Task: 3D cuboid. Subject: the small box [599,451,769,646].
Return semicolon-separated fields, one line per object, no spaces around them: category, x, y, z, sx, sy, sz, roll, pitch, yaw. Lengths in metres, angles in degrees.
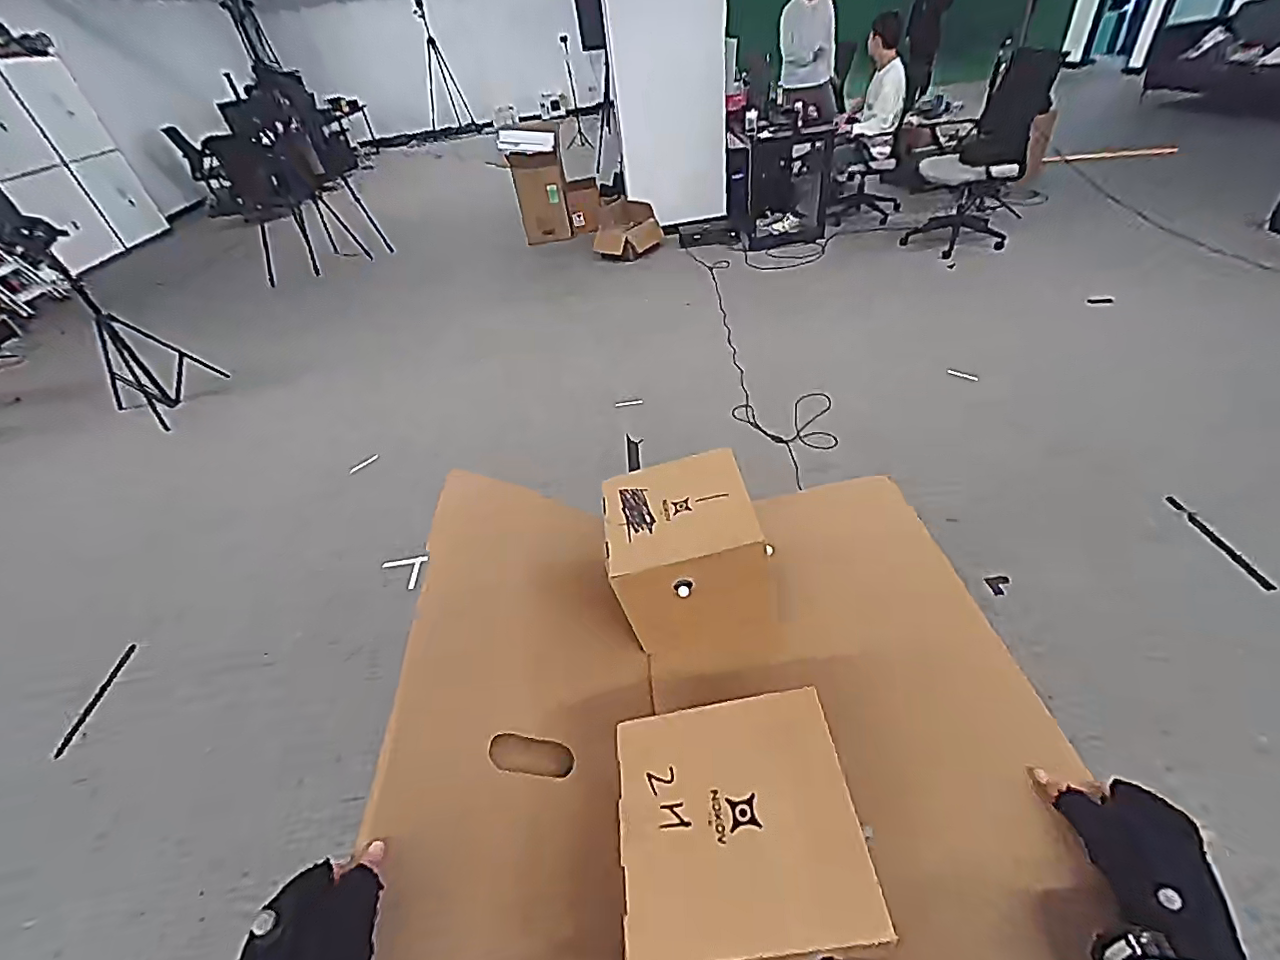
small box;0.056;0.094;0.706;0.179;0.176;0.168;-15;42;5

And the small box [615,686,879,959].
small box;0.086;0.305;0.468;0.179;0.176;0.168;-14;41;8
